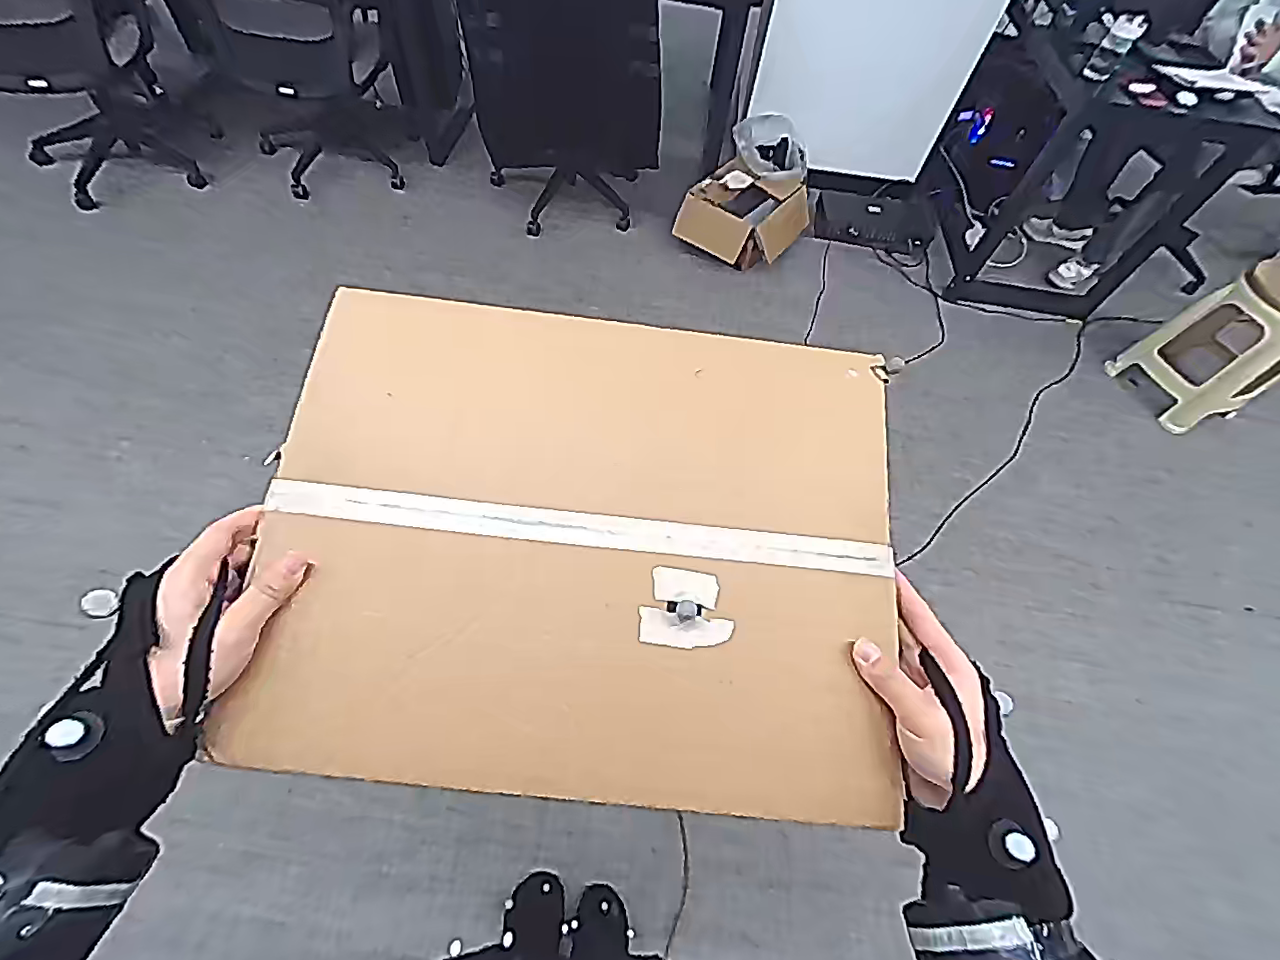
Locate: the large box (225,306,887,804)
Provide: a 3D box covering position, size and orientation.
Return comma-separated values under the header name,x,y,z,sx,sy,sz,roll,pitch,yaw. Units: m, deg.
name,x,y,z,sx,sy,sz,roll,pitch,yaw
large box,-0.045,0.078,0.507,0.408,0.320,0.320,7,73,-2
